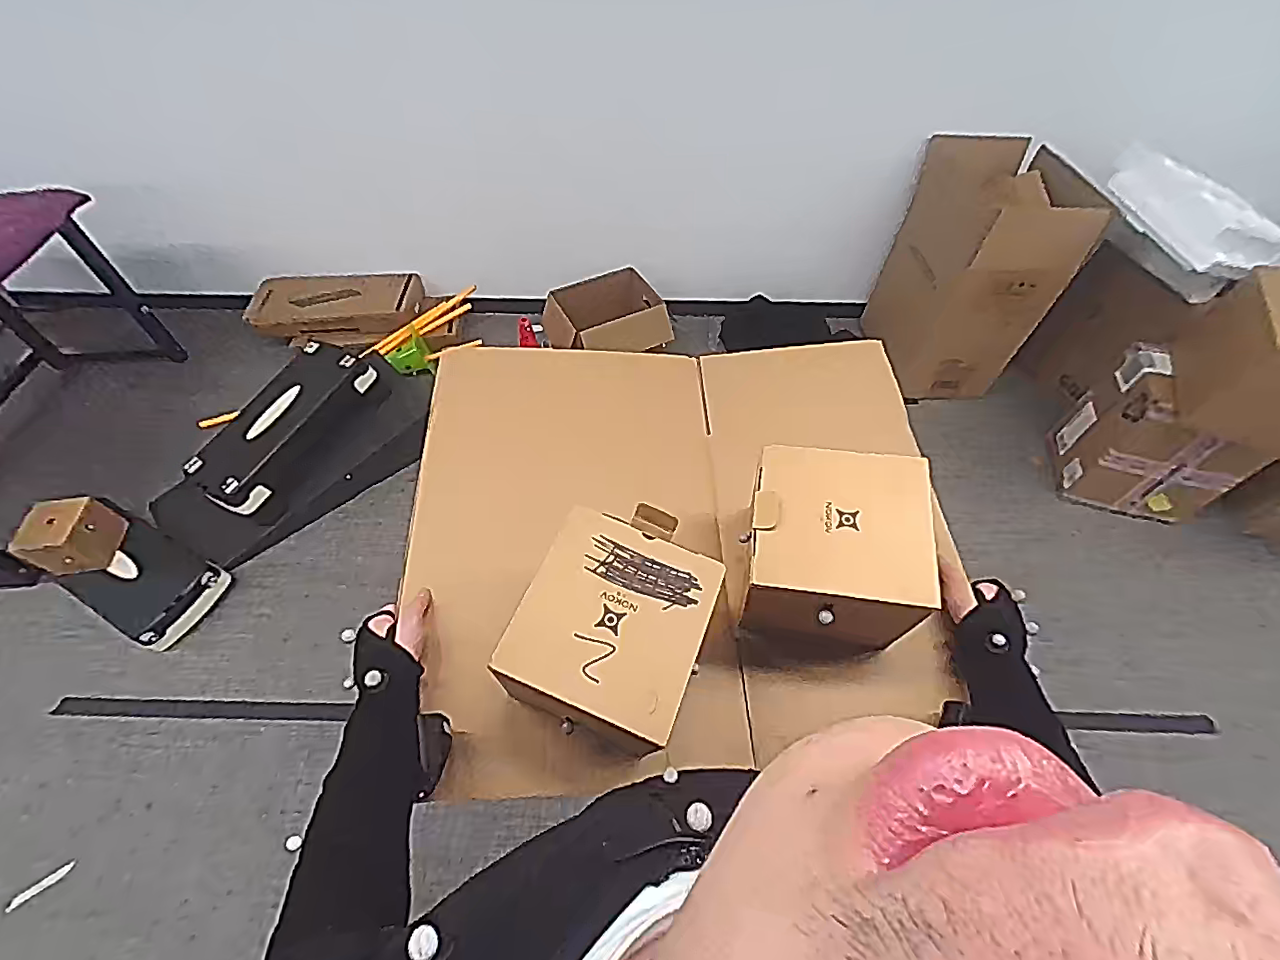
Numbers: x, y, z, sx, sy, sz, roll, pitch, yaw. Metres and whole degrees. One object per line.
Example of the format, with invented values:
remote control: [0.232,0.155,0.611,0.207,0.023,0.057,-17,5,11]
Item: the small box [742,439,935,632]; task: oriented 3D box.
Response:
small box: [0.218,0.071,0.631,0.179,0.176,0.168,5,62,11]
